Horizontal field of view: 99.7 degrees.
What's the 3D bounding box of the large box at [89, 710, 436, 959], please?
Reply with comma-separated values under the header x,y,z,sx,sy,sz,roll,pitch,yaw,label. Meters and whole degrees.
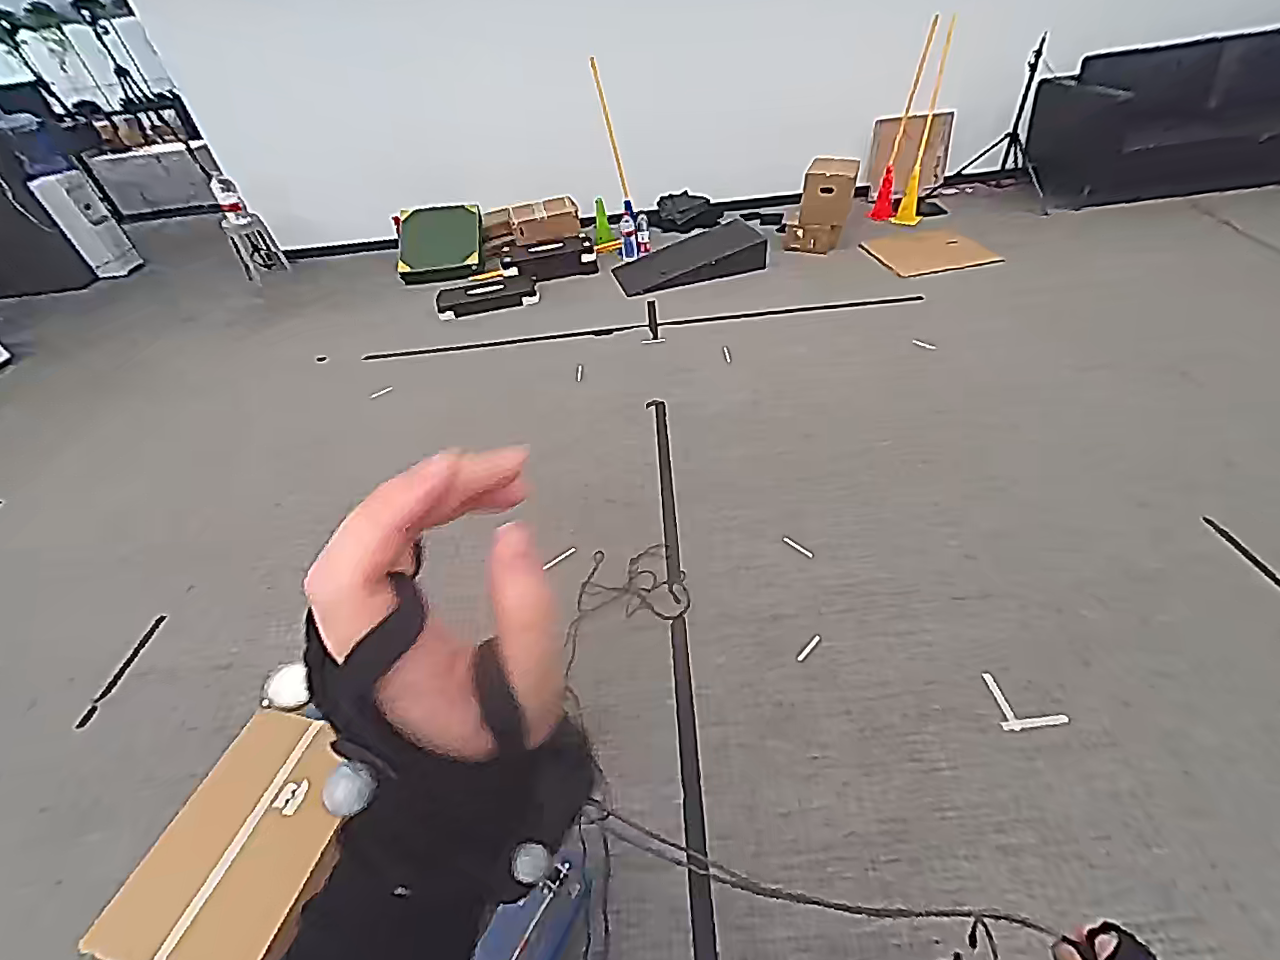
x,y,z,sx,sy,sz,roll,pitch,yaw,label
-0.676,0.739,1.059,0.320,0.320,0.408,7,44,14,large box
